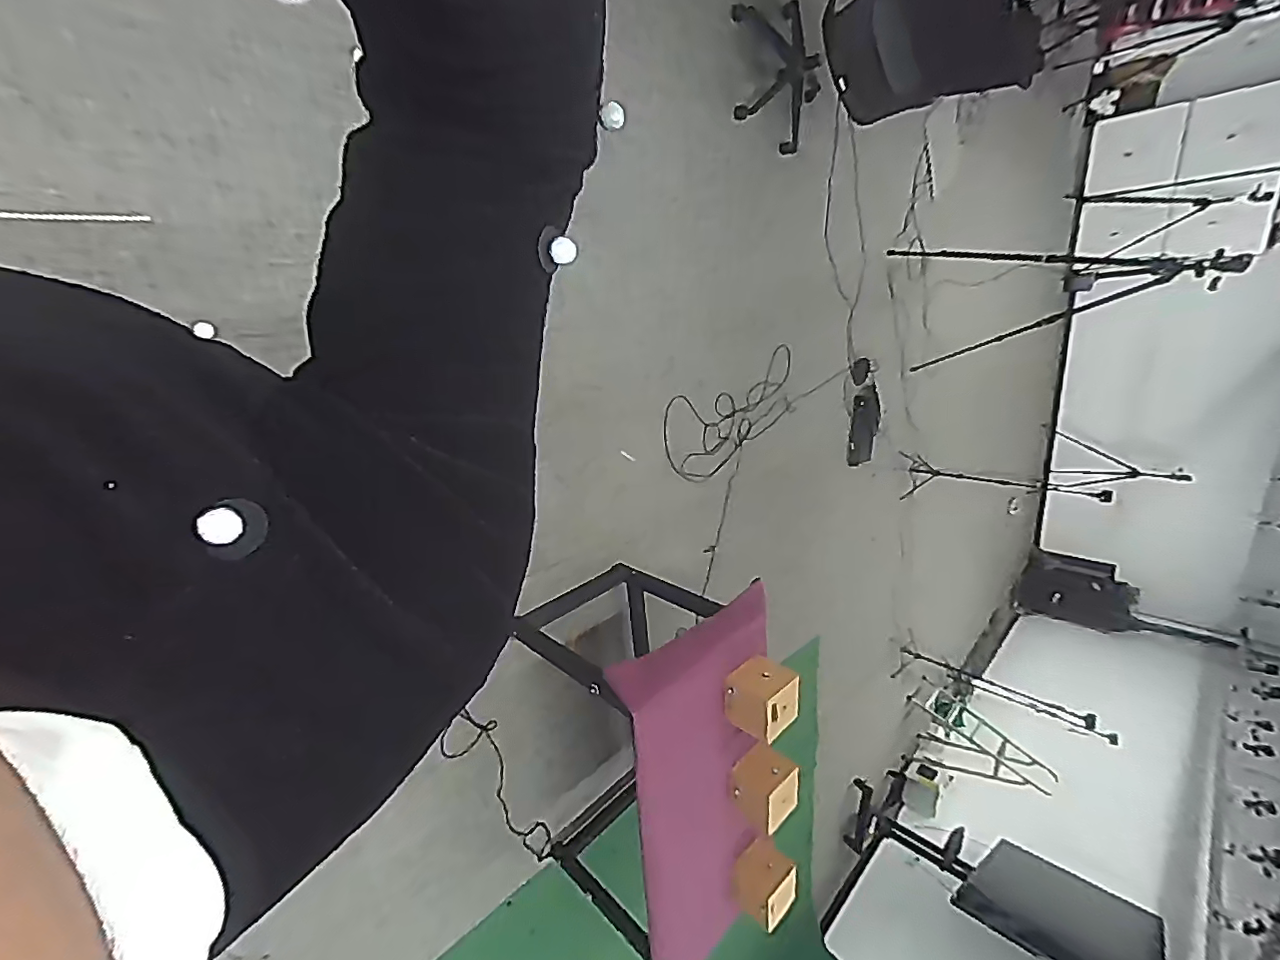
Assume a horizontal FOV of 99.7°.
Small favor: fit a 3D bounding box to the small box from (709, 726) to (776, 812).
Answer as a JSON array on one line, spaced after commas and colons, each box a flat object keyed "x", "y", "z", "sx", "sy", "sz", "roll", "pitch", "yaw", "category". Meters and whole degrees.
[{"x": 0.365, "y": 1.021, "z": 1.930, "sx": 0.179, "sy": 0.176, "sz": 0.168, "roll": -17, "pitch": 112, "yaw": -41, "category": "small box"}]

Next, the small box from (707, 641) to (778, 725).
[{"x": 0.338, "y": 0.668, "z": 1.799, "sx": 0.179, "sy": 0.176, "sz": 0.168, "roll": -19, "pitch": 115, "yaw": -41, "category": "small box"}]

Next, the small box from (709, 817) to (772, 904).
[{"x": 0.382, "y": 1.438, "z": 2.059, "sx": 0.179, "sy": 0.176, "sz": 0.168, "roll": -20, "pitch": 114, "yaw": -42, "category": "small box"}]
